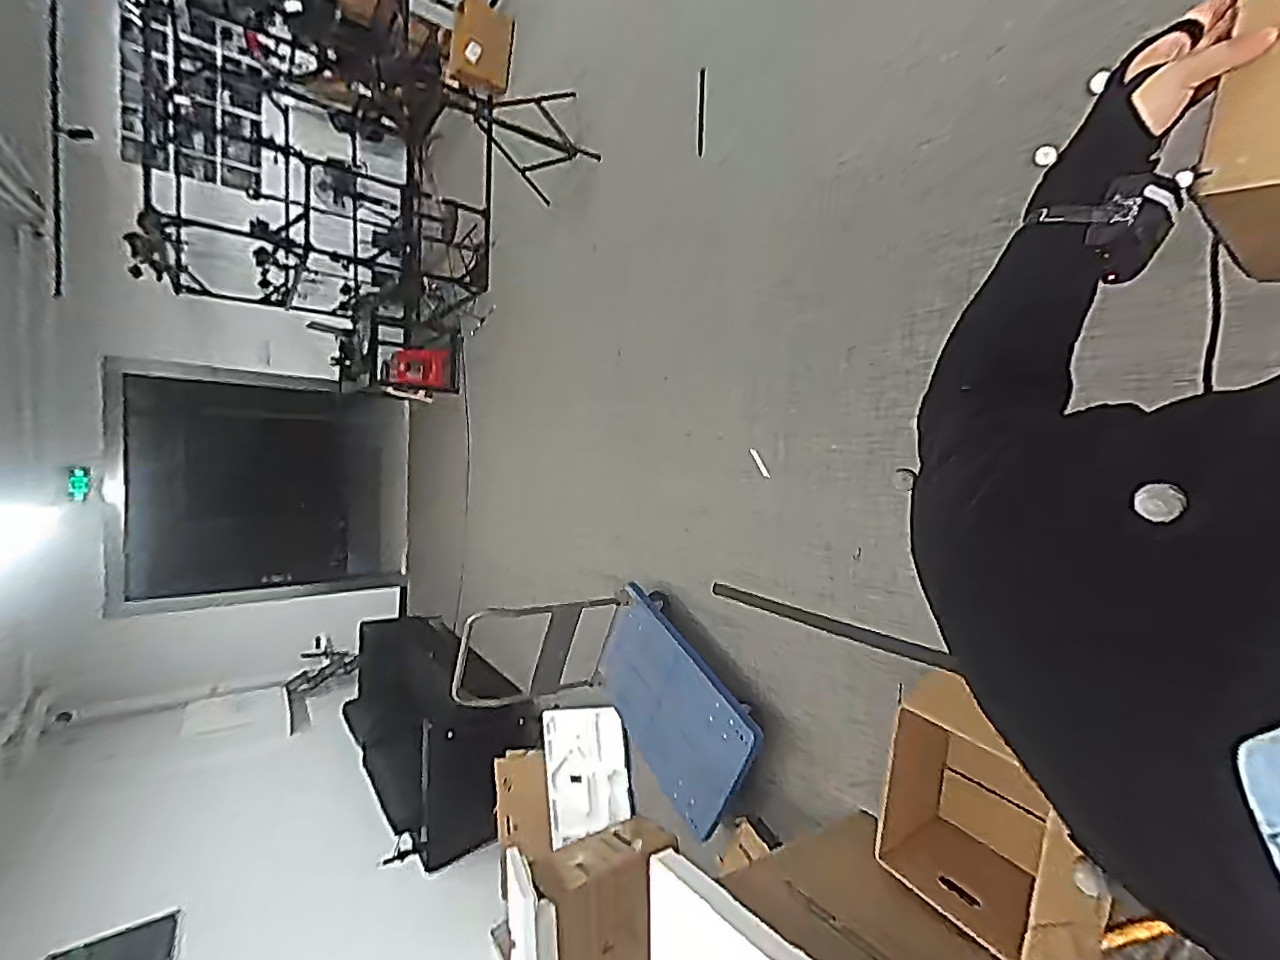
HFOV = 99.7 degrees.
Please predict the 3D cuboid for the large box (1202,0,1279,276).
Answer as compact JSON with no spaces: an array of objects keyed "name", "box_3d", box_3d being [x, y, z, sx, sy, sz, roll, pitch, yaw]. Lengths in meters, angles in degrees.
[{"name":"large box","box_3d":[0.683,-0.334,0.320,0.408,0.320,0.320,17,103,54]}]
